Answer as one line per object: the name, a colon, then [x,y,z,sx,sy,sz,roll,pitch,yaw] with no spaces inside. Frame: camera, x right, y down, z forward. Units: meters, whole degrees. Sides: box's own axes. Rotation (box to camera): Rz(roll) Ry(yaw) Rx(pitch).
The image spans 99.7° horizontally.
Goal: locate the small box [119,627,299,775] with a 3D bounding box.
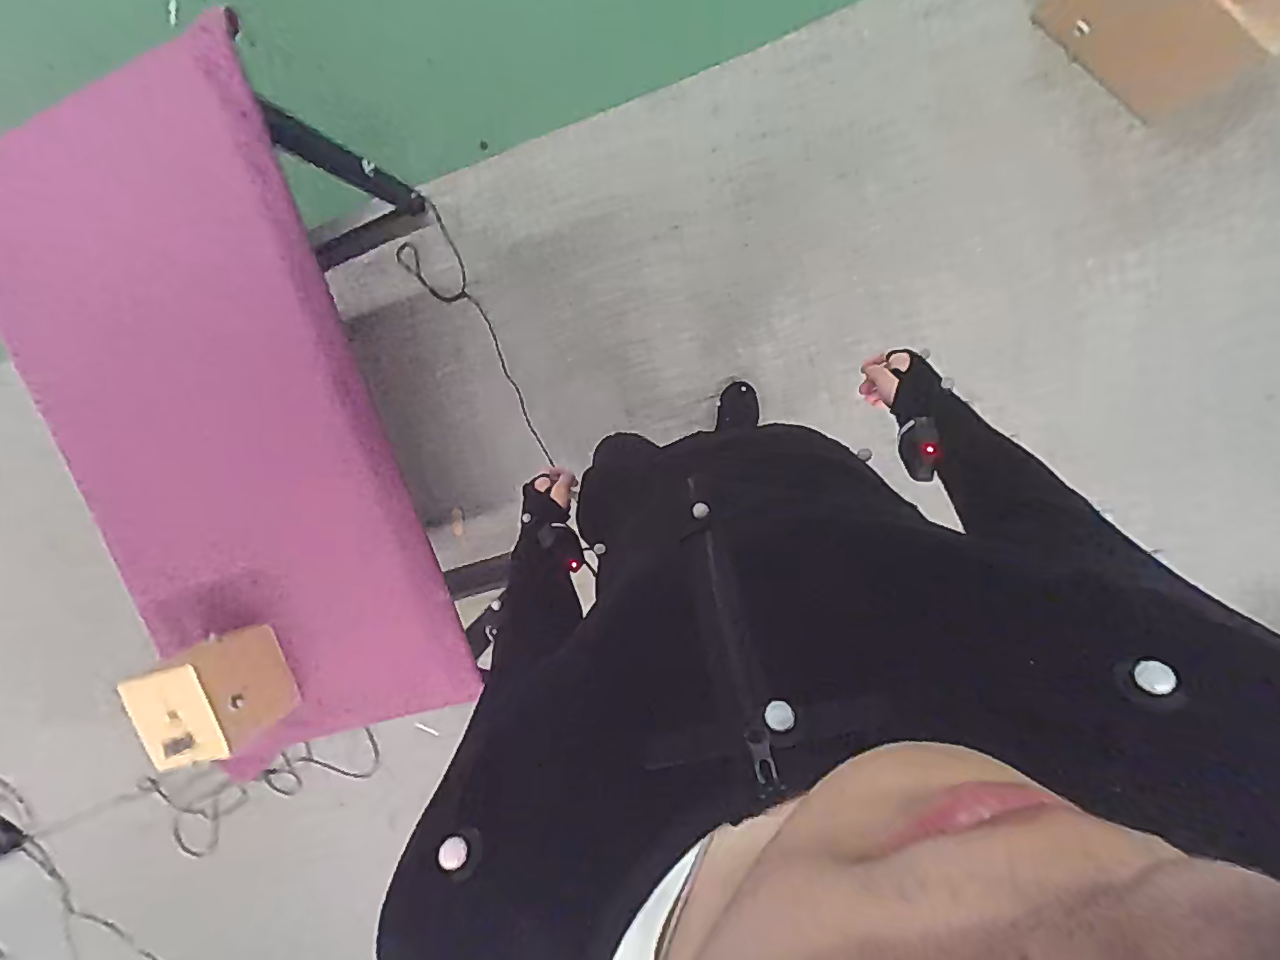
small box: [-0.780,0.401,1.000,0.168,0.176,0.179,-16,98,10]
